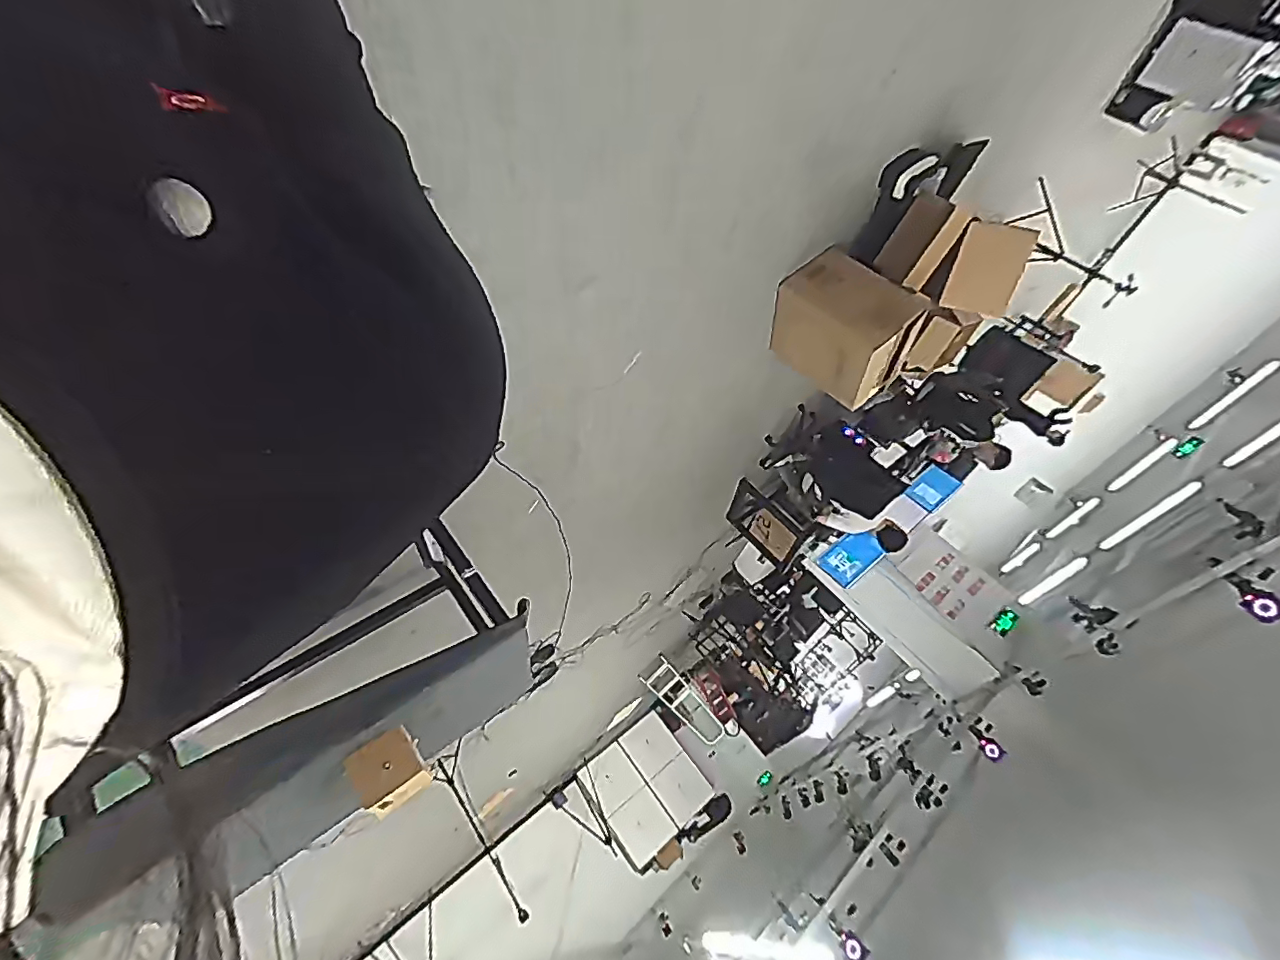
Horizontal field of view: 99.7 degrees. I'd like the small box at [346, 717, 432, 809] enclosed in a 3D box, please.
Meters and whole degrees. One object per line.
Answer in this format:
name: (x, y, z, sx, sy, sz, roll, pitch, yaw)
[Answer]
small box: (-0.770, 0.863, 1.651, 0.179, 0.176, 0.168, -30, 152, -25)
